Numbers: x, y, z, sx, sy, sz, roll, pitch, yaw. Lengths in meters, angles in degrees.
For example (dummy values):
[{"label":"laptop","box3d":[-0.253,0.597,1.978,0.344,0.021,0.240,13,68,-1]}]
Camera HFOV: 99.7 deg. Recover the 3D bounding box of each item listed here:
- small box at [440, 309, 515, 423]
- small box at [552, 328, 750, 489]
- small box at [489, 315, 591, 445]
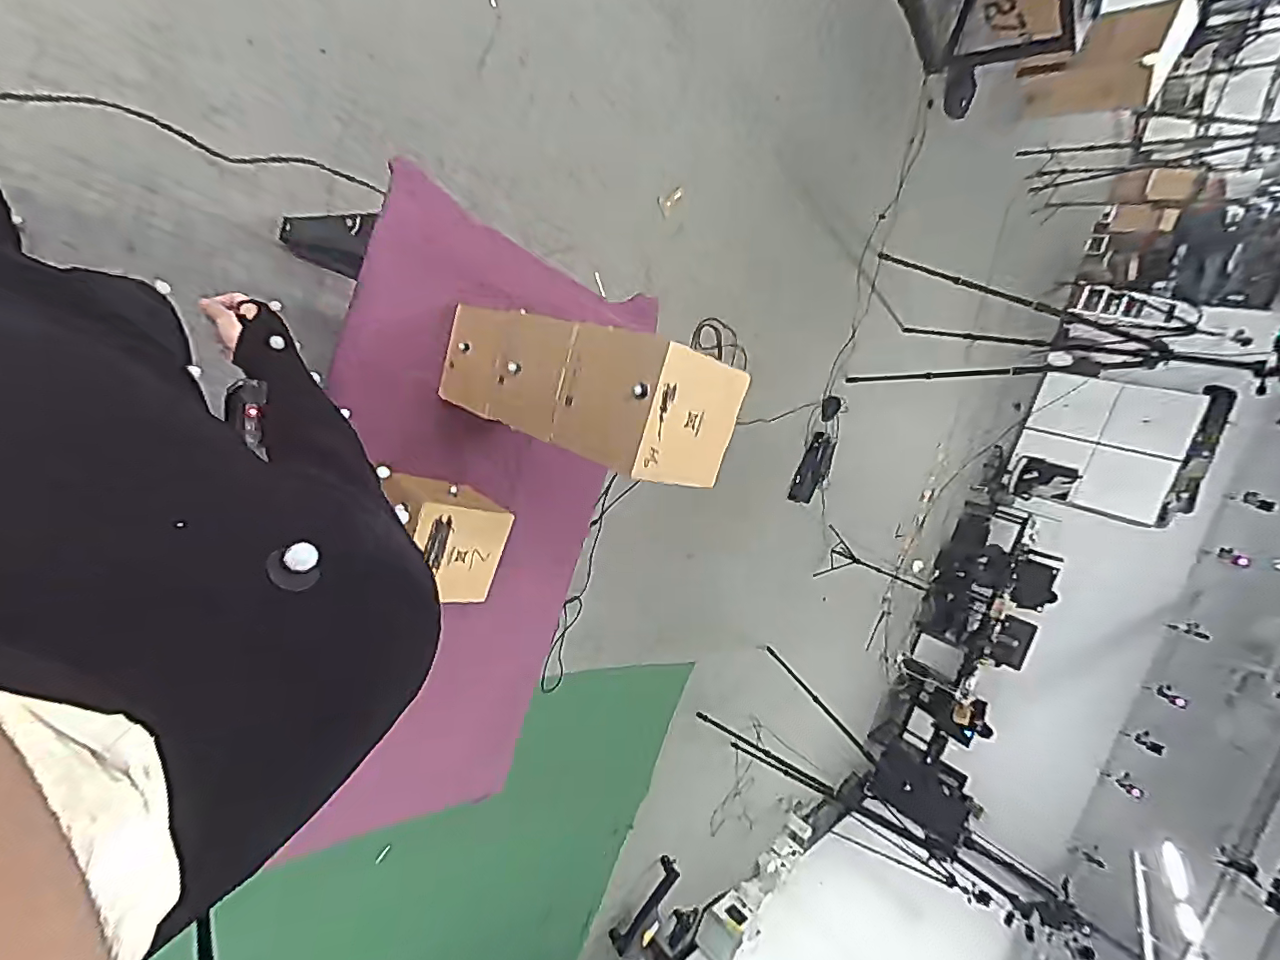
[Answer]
[{"label":"small box","box3d":[-0.217,-0.190,0.942,0.179,0.176,0.168,6,104,-47]},{"label":"small box","box3d":[0.013,-0.096,0.727,0.179,0.176,0.168,7,102,-49]},{"label":"small box","box3d":[-0.102,-0.147,0.833,0.179,0.176,0.168,4,104,-47]}]
